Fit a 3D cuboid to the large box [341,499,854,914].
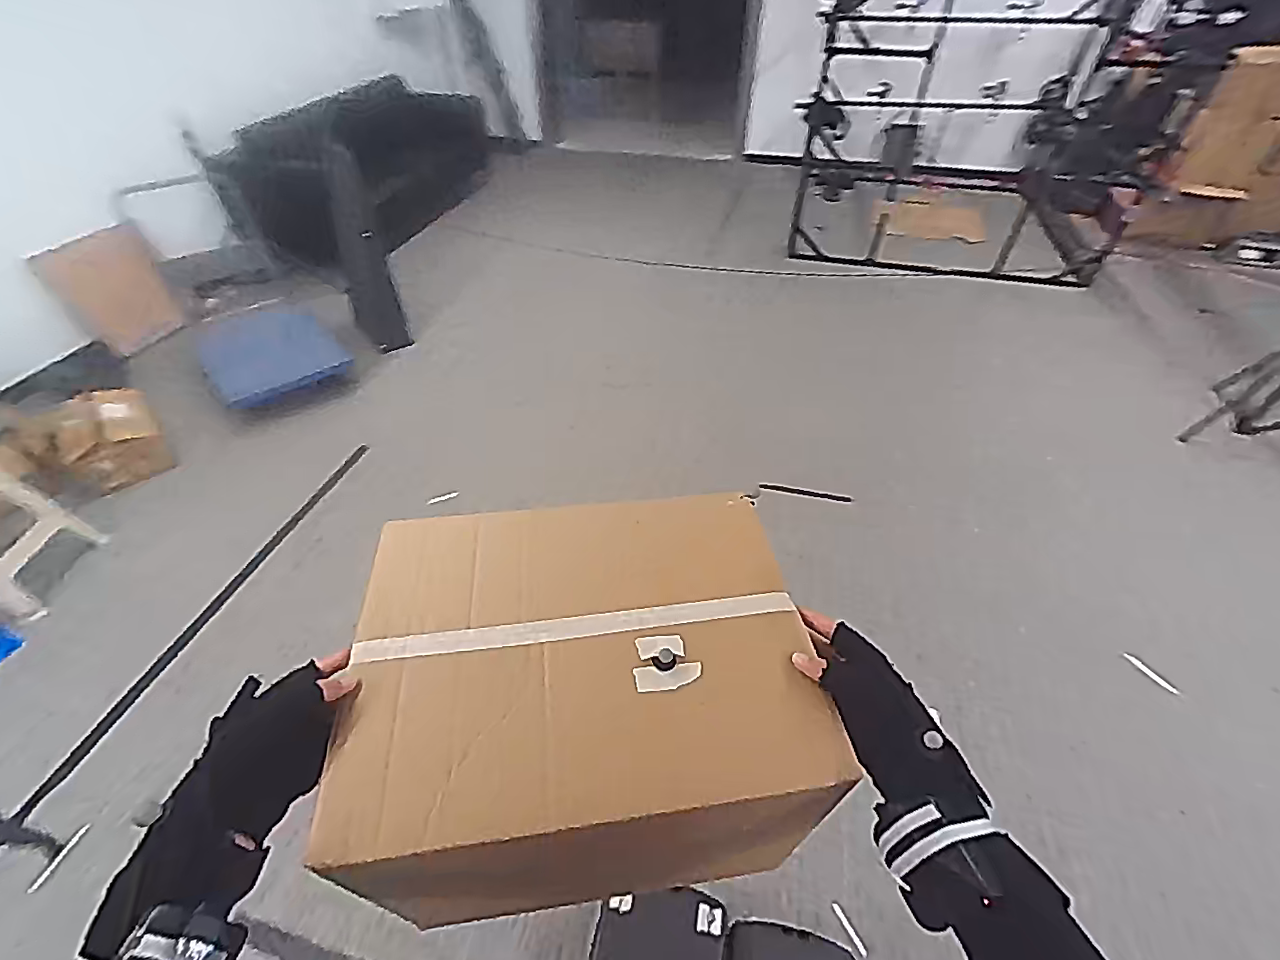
[{"bbox_3d":[-0.049,0.248,0.617,0.408,0.320,0.320,-3,45,-7],"label":"large box"}]
